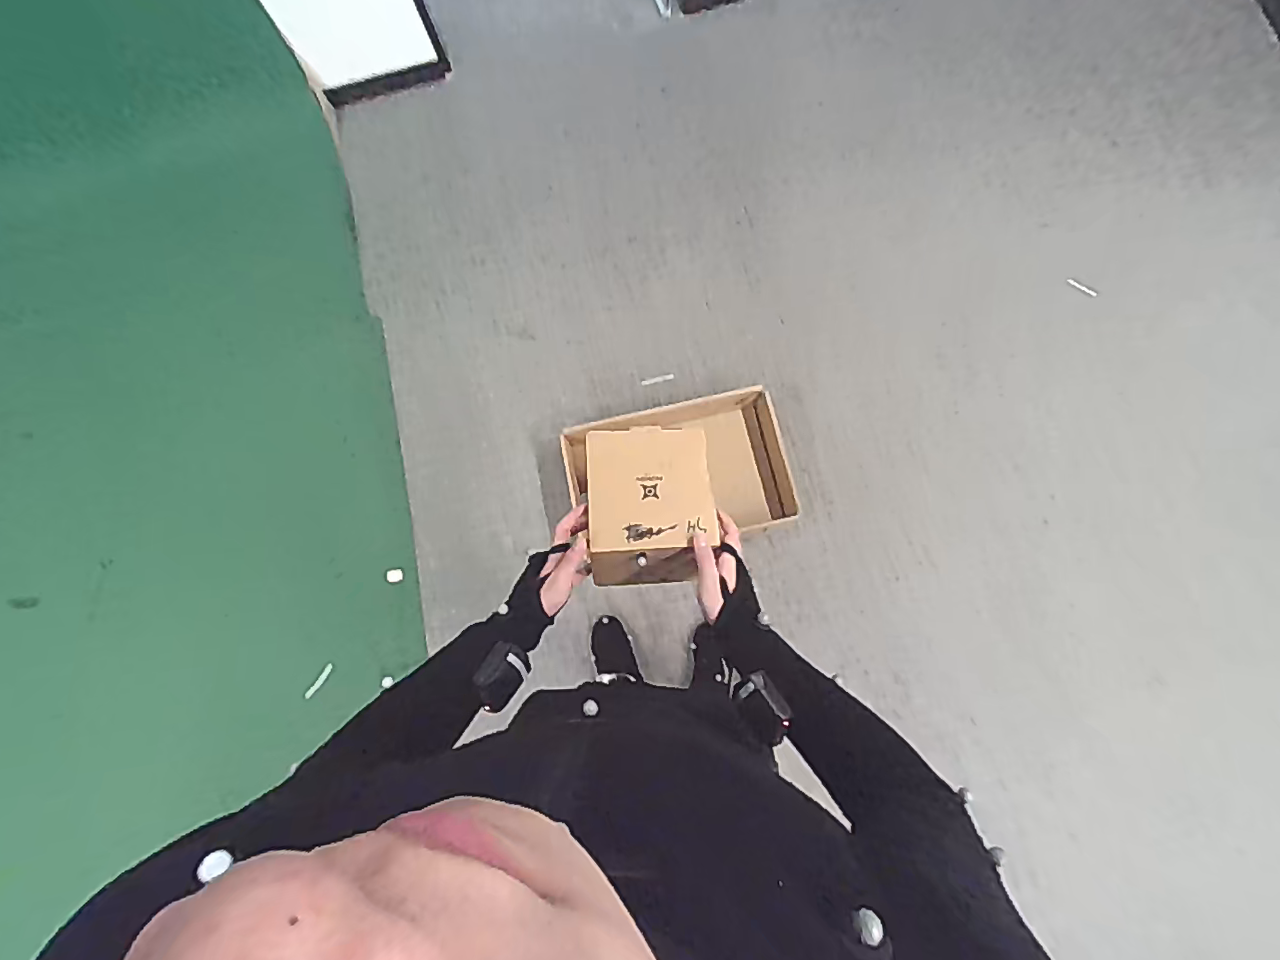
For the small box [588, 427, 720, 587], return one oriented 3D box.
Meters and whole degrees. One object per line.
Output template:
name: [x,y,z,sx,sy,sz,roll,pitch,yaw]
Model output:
small box: [0.010,0.042,0.772,0.168,0.176,0.179,-3,64,-4]
